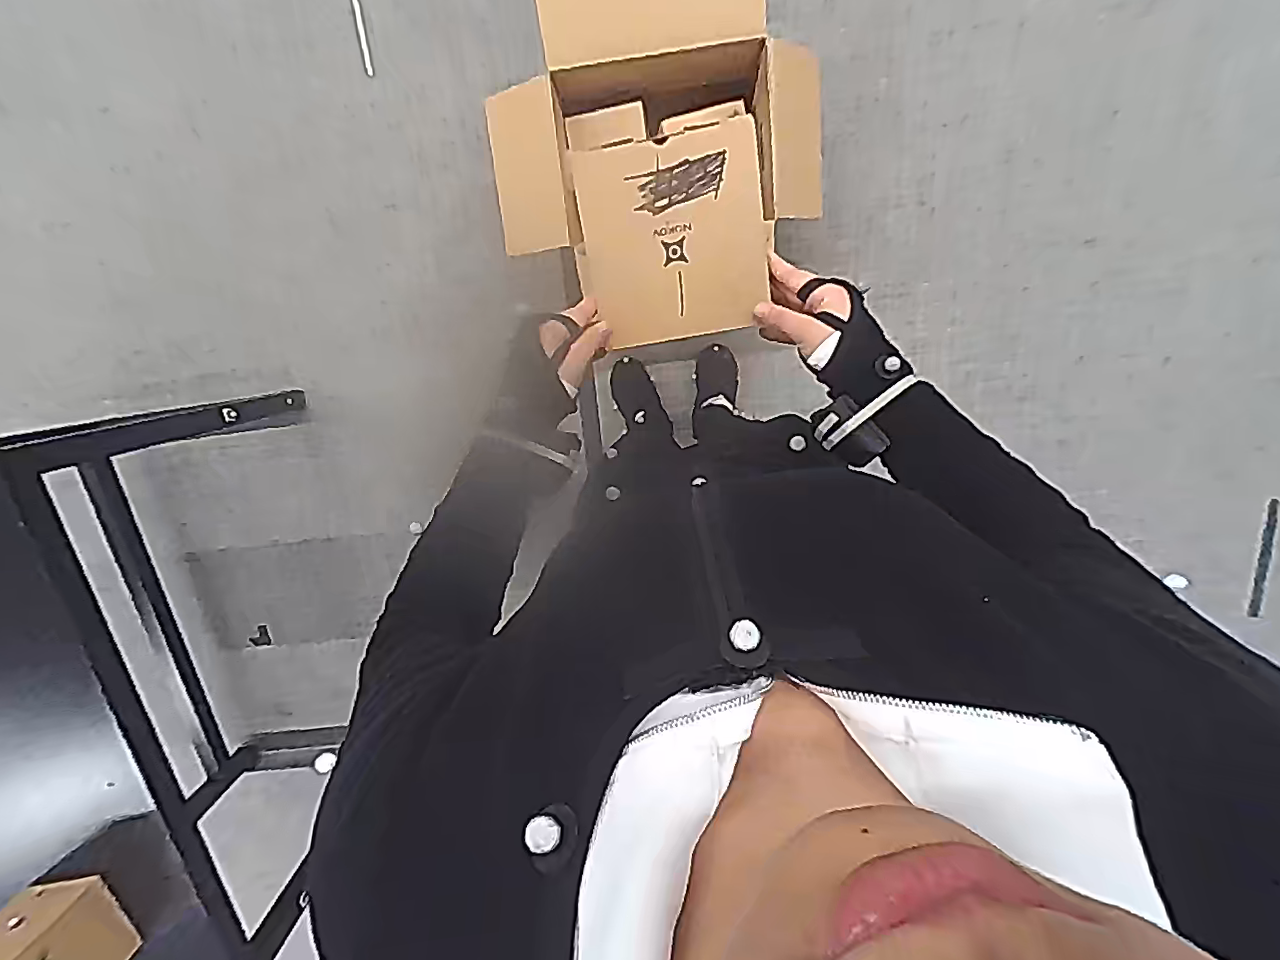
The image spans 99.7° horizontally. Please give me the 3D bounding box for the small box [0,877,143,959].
[{"bbox_3d":[-1.071,0.853,0.971,0.168,0.176,0.179,-13,106,6],"label":"small box"}]

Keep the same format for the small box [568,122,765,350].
[{"bbox_3d":[0.030,-0.246,0.581,0.168,0.176,0.179,-9,109,6],"label":"small box"}]
